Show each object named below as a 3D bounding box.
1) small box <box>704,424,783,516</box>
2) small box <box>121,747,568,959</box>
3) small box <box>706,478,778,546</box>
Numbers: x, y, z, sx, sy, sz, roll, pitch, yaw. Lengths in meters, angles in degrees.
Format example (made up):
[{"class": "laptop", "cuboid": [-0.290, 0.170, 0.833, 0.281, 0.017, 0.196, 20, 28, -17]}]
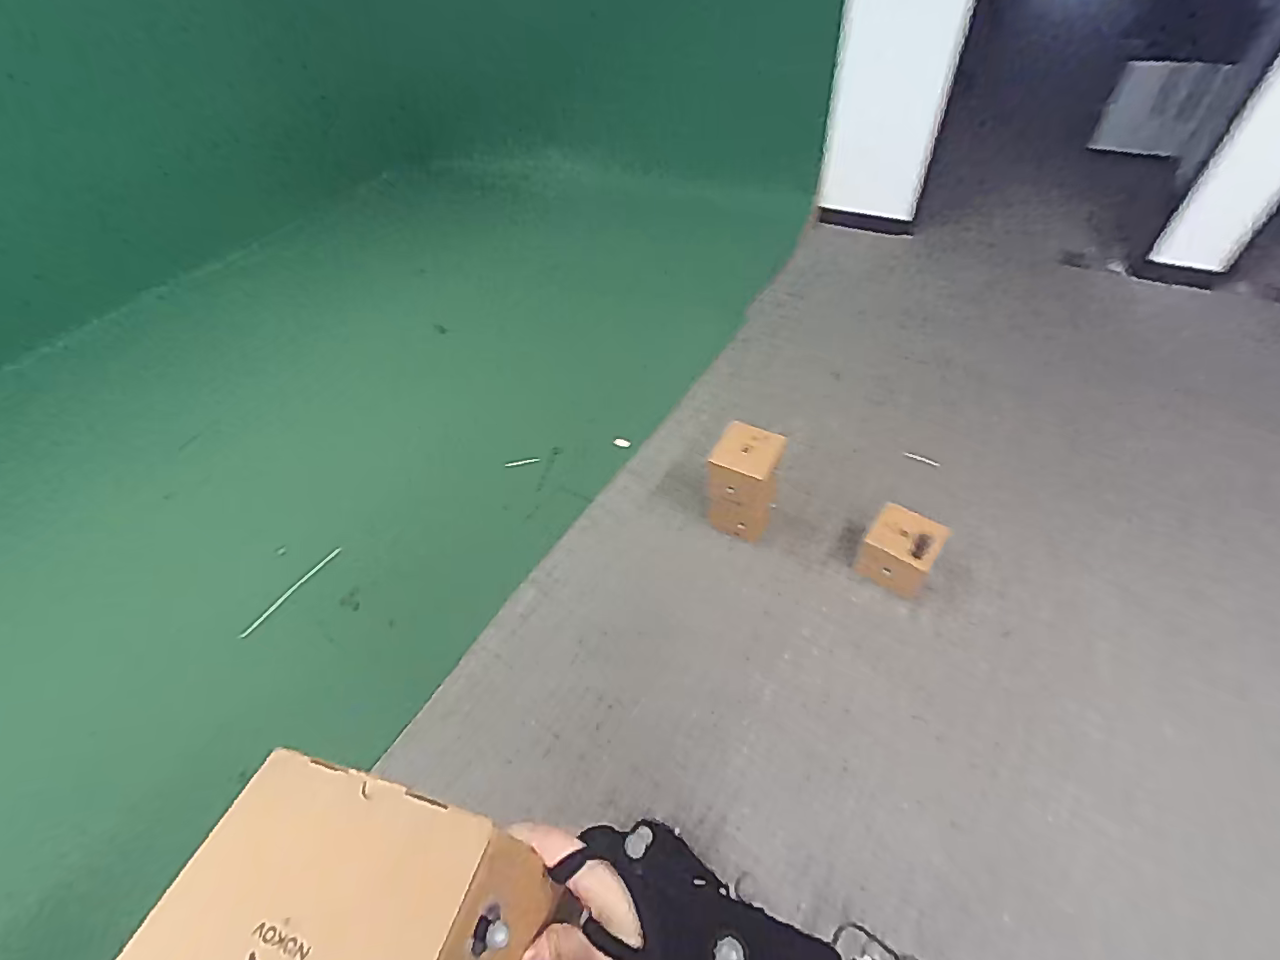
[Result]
[{"class": "small box", "cuboid": [0.299, -0.025, 1.570, 0.168, 0.176, 0.179, 22, 57, 22]}, {"class": "small box", "cuboid": [-0.161, 0.292, 0.308, 0.168, 0.176, 0.179, 4, 43, 23]}, {"class": "small box", "cuboid": [0.320, 0.077, 1.697, 0.168, 0.176, 0.179, 23, 57, 23]}]
